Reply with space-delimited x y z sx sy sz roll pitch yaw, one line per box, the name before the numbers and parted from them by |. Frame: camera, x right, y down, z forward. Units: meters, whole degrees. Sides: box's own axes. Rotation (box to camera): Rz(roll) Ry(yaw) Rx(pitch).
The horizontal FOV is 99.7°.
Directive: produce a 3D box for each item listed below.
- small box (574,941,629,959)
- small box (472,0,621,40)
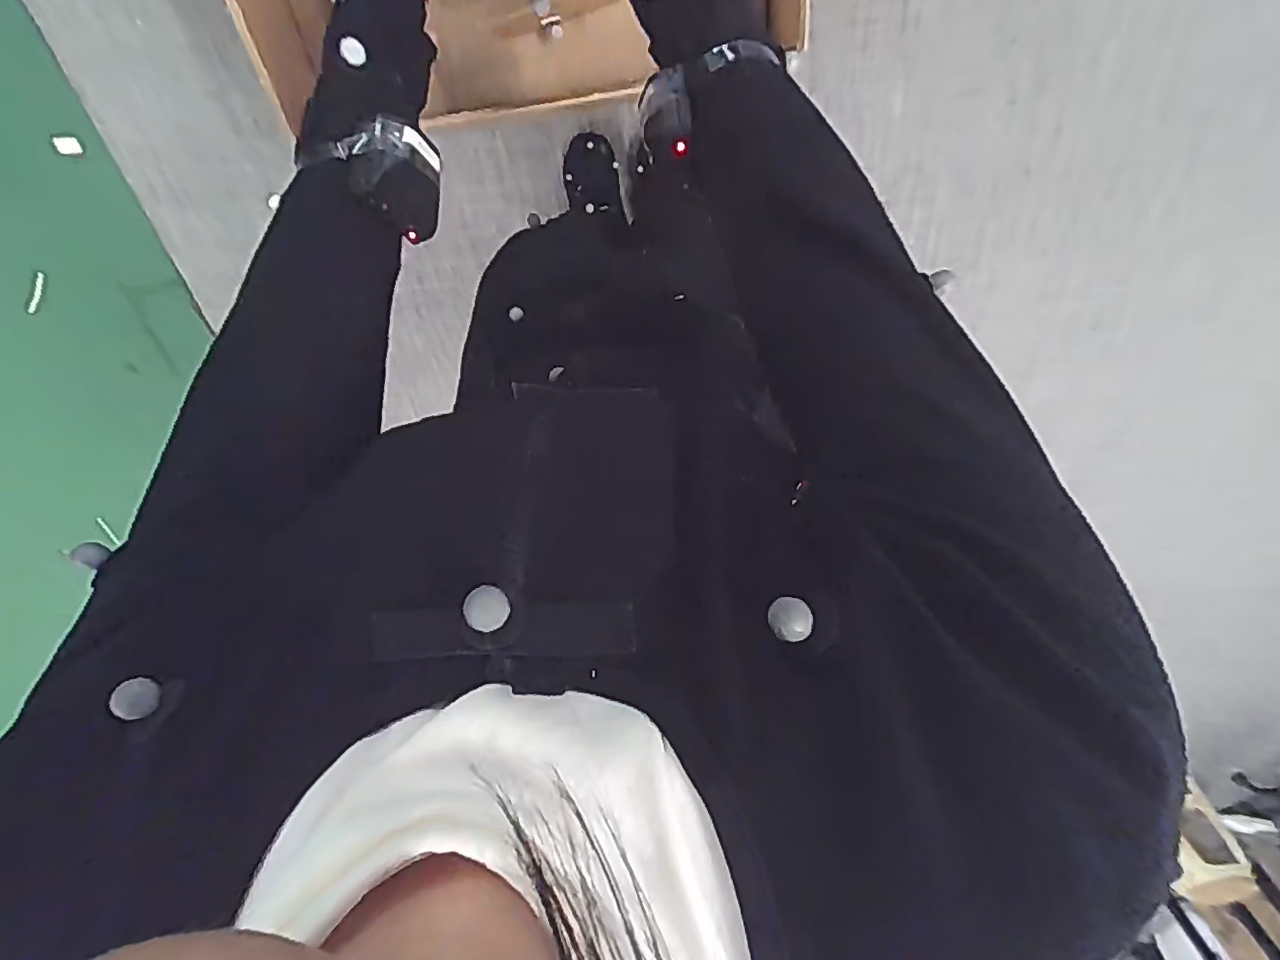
small box | -0.126 1.671 1.805 0.168 0.176 0.179 -8 126 2
small box | -0.116 -0.611 0.582 0.168 0.176 0.179 -12 125 8
